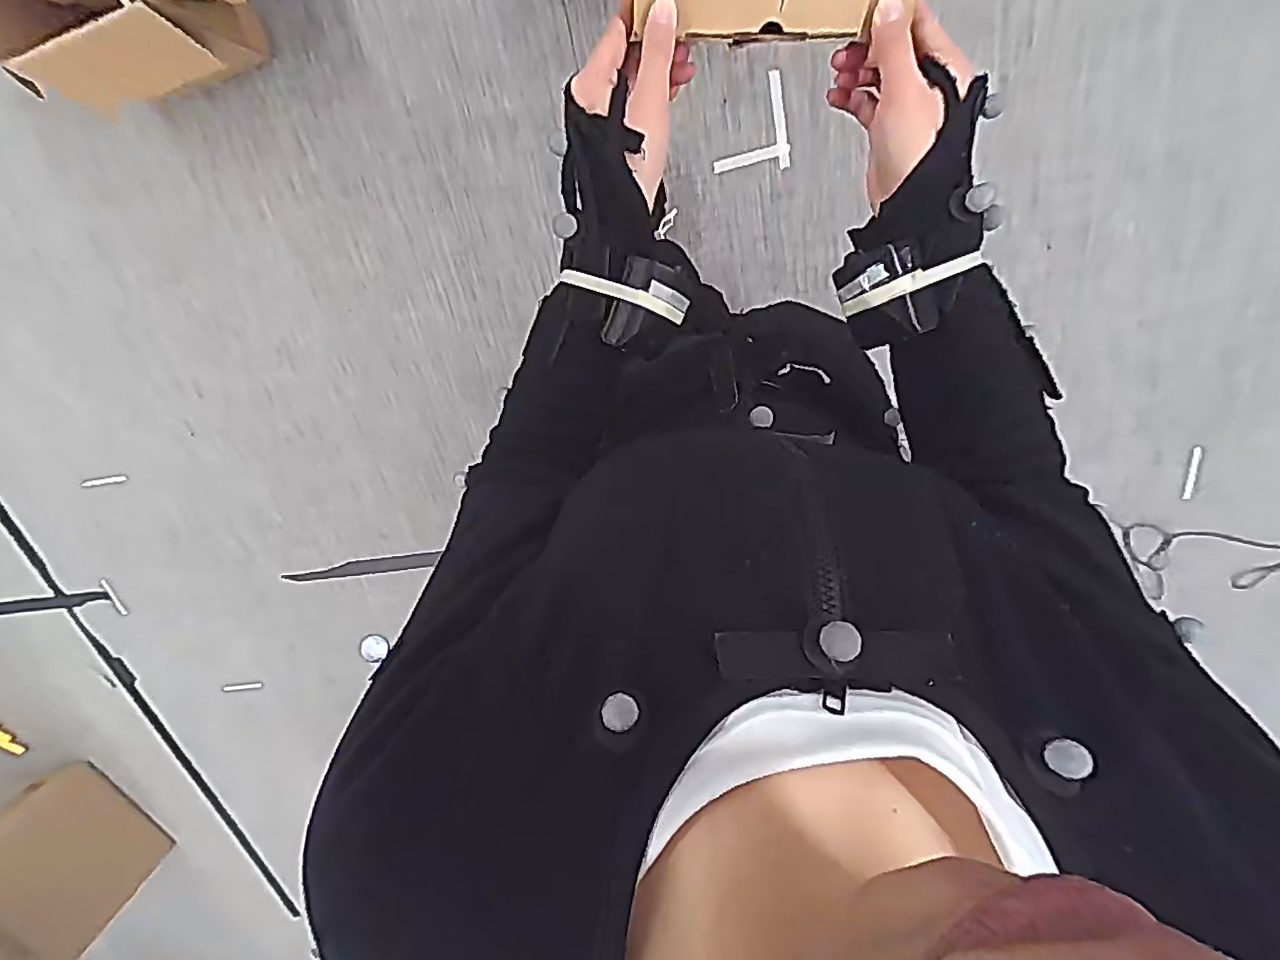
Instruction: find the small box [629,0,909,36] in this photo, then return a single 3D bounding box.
[{"bbox_3d":[0.080,-0.388,0.332,0.168,0.176,0.179,1,128,1],"label":"small box"}]
